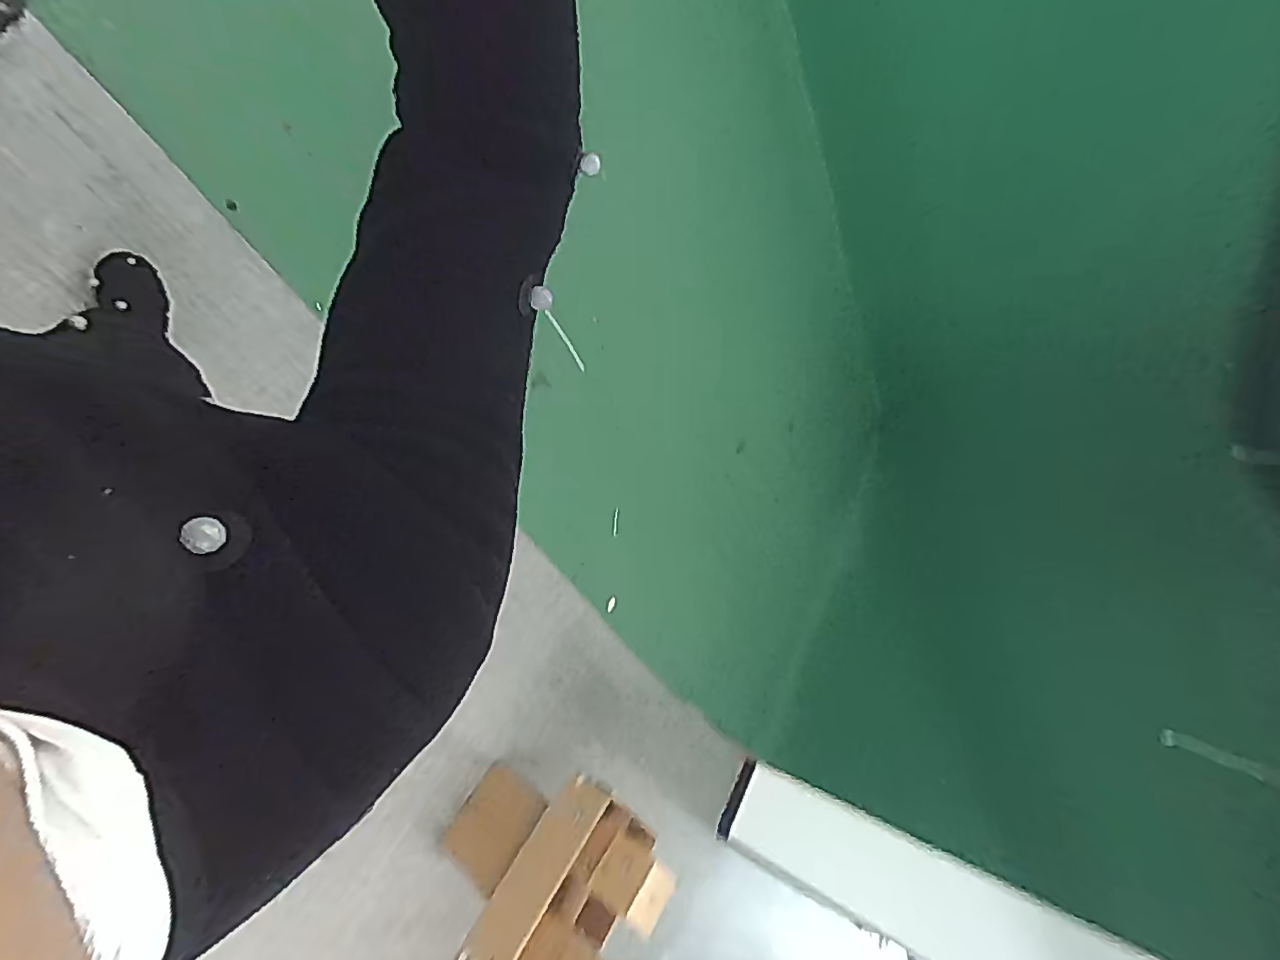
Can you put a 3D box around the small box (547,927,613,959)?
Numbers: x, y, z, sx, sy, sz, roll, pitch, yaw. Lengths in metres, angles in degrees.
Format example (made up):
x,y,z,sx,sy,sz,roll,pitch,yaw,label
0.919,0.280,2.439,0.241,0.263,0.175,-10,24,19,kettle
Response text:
x,y,z,sx,sy,sz,roll,pitch,yaw,label
-0.168,1.426,1.537,0.168,0.176,0.179,-51,129,-29,small box

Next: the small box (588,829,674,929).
x,y,z,sx,sy,sz,roll,pitch,yaw,label
-0.030,1.217,1.661,0.168,0.176,0.179,-49,129,-32,small box
